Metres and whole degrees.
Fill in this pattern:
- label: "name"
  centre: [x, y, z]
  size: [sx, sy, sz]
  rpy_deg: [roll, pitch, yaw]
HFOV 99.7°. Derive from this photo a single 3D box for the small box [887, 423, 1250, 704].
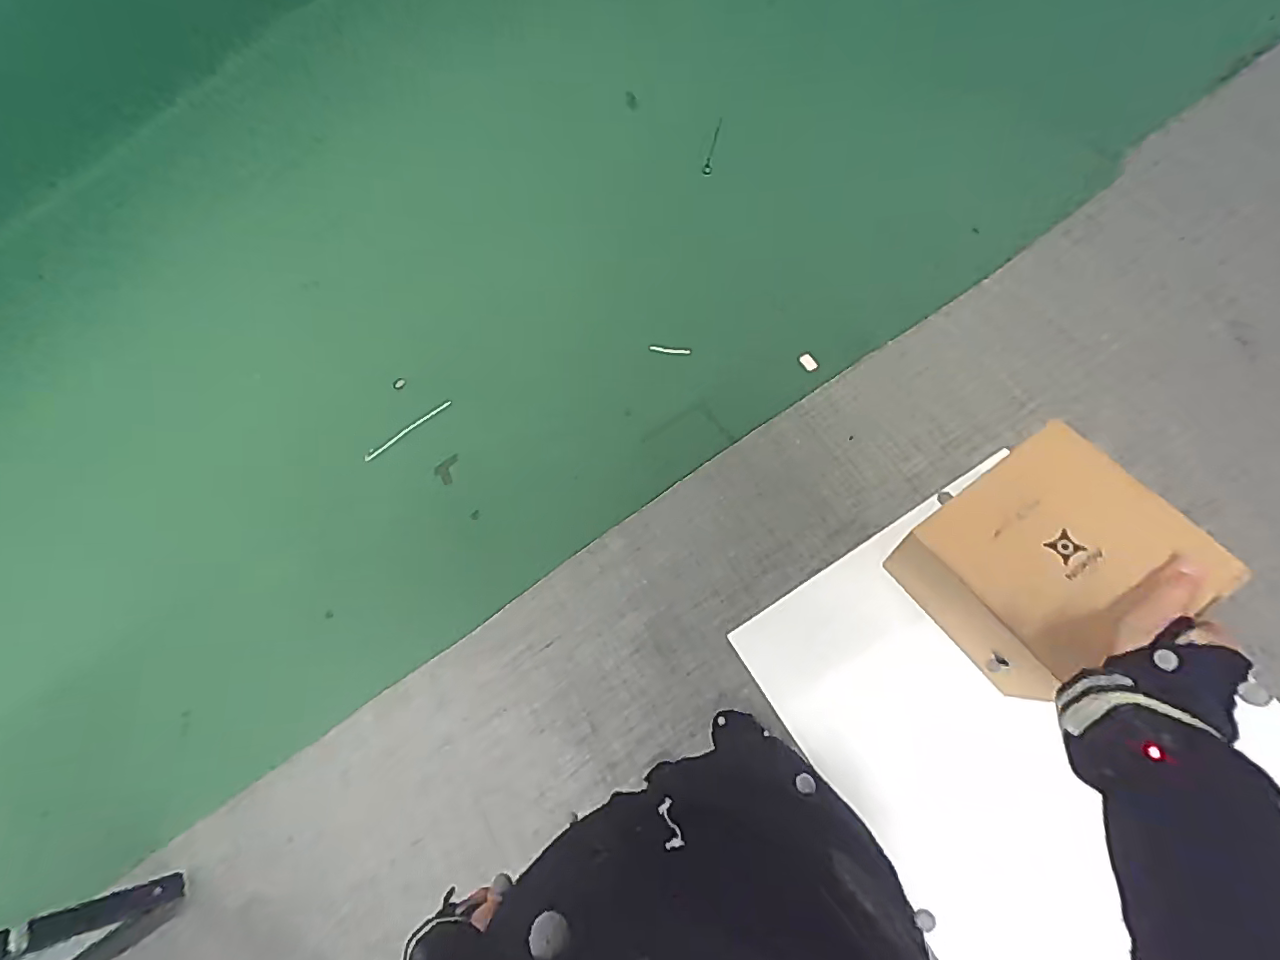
- label: "small box"
  centre: [0.370, 0.084, 0.514]
  size: [0.168, 0.176, 0.179]
  rpy_deg: [-38, 65, -1]
